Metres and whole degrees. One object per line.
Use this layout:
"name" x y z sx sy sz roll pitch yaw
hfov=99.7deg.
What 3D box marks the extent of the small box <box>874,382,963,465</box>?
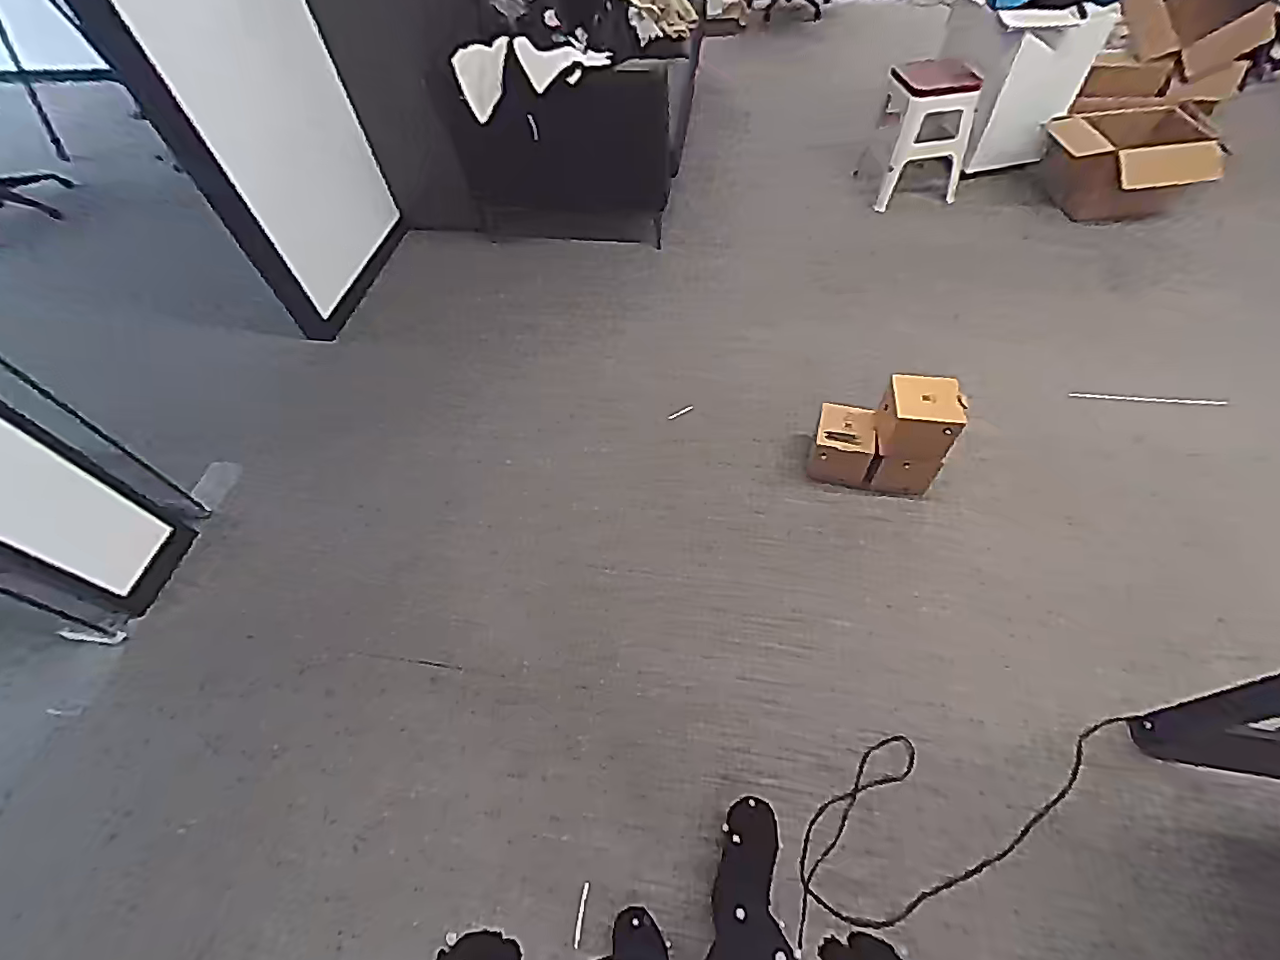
"small box" 0.775 -0.157 1.530 0.179 0.176 0.168 5 55 7
